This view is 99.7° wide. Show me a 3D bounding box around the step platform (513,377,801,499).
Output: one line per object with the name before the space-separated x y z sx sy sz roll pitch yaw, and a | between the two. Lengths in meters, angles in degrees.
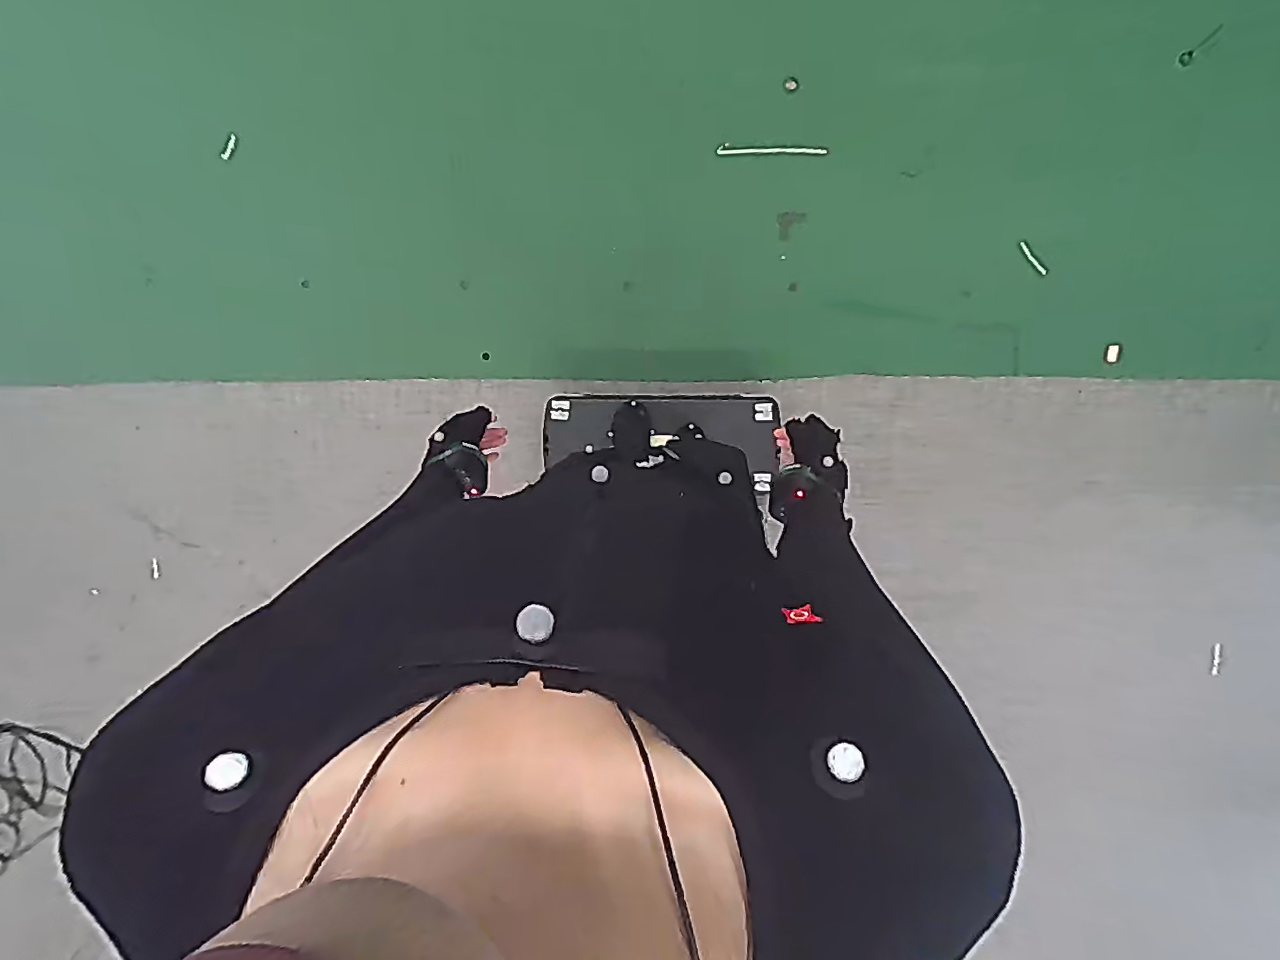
step platform | 0.040 -0.111 1.371 0.684 0.204 0.286 0 98 3
